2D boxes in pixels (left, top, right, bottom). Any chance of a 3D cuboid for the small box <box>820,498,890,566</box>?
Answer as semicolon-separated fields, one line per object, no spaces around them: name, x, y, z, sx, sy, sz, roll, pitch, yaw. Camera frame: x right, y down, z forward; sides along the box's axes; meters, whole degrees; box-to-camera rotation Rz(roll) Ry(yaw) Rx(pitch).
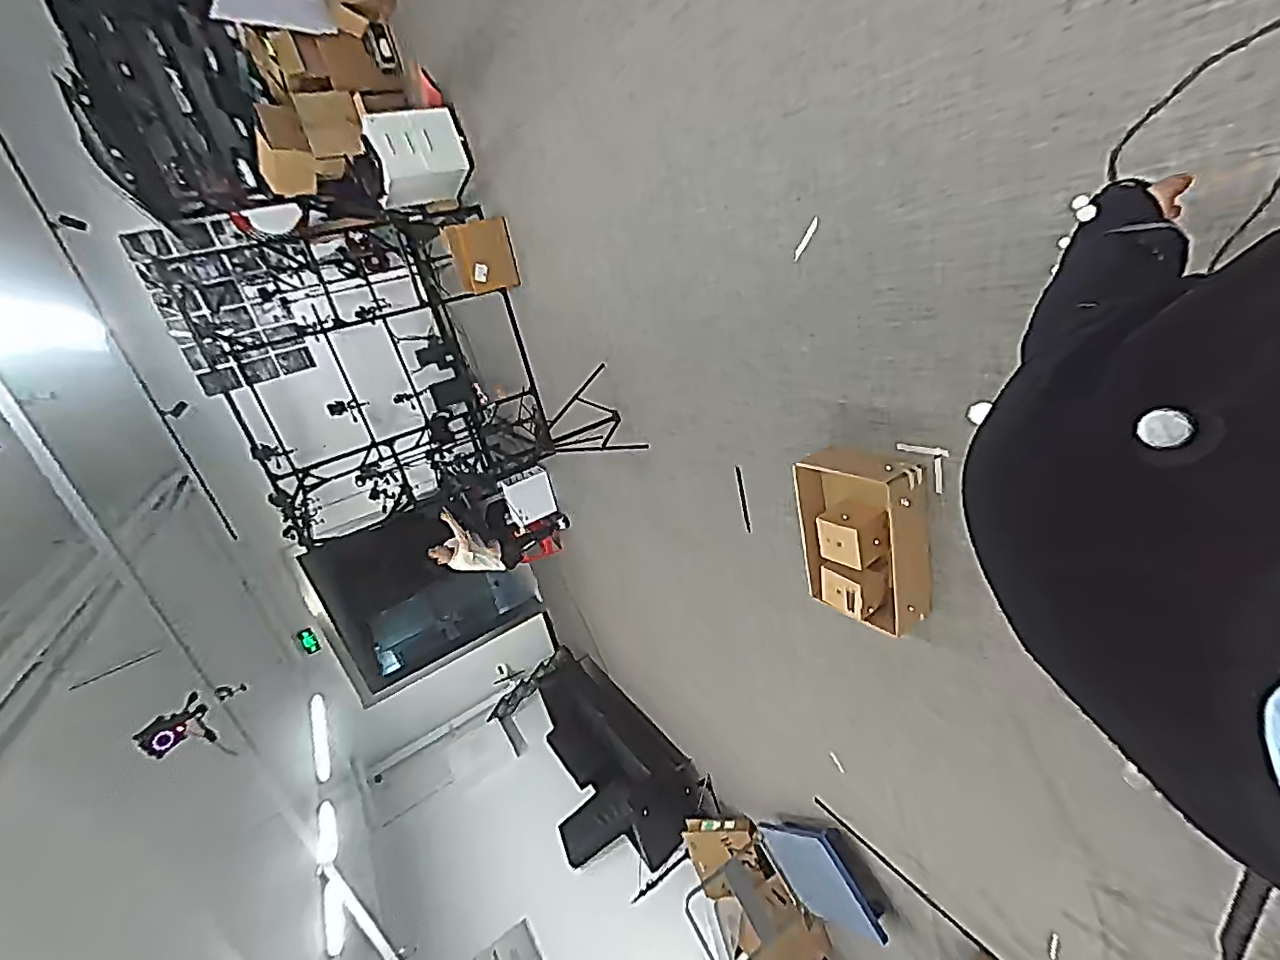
small box;0.781;0.180;1.947;0.179;0.176;0.168;20;130;56
